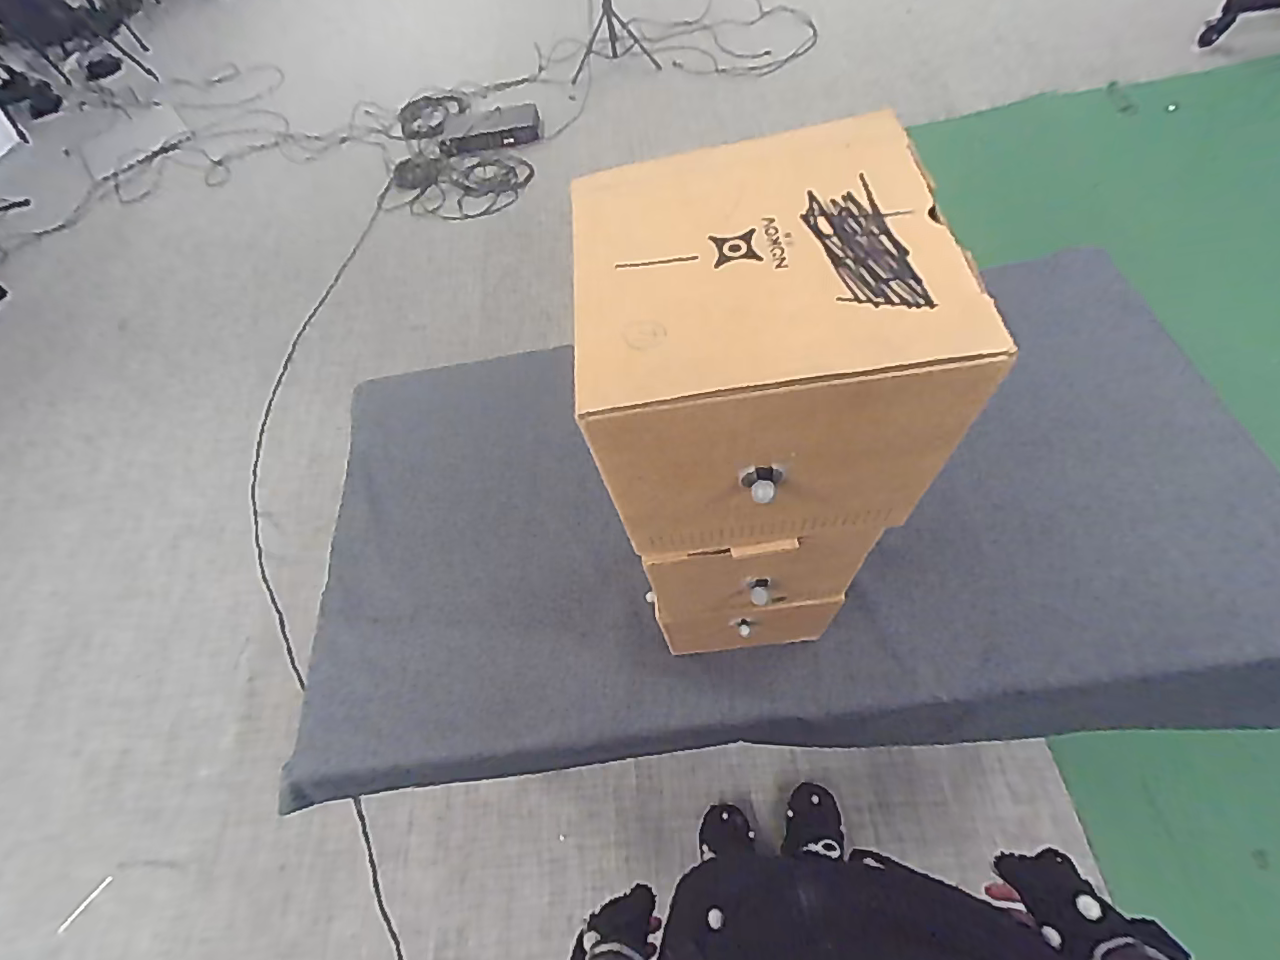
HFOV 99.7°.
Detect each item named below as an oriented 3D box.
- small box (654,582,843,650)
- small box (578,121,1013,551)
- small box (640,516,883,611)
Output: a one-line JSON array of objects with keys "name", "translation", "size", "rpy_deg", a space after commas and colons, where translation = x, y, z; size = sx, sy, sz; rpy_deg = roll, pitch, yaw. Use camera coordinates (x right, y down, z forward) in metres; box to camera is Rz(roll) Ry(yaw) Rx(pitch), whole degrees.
[{"name": "small box", "translation": [0.107, 0.087, 0.610], "size": [0.179, 0.176, 0.168], "rpy_deg": [-8, 61, 4]}, {"name": "small box", "translation": [0.067, -0.068, 0.323], "size": [0.179, 0.176, 0.168], "rpy_deg": [-8, 61, 6]}, {"name": "small box", "translation": [0.085, 0.007, 0.470], "size": [0.168, 0.176, 0.179], "rpy_deg": [-10, 62, 4]}]
